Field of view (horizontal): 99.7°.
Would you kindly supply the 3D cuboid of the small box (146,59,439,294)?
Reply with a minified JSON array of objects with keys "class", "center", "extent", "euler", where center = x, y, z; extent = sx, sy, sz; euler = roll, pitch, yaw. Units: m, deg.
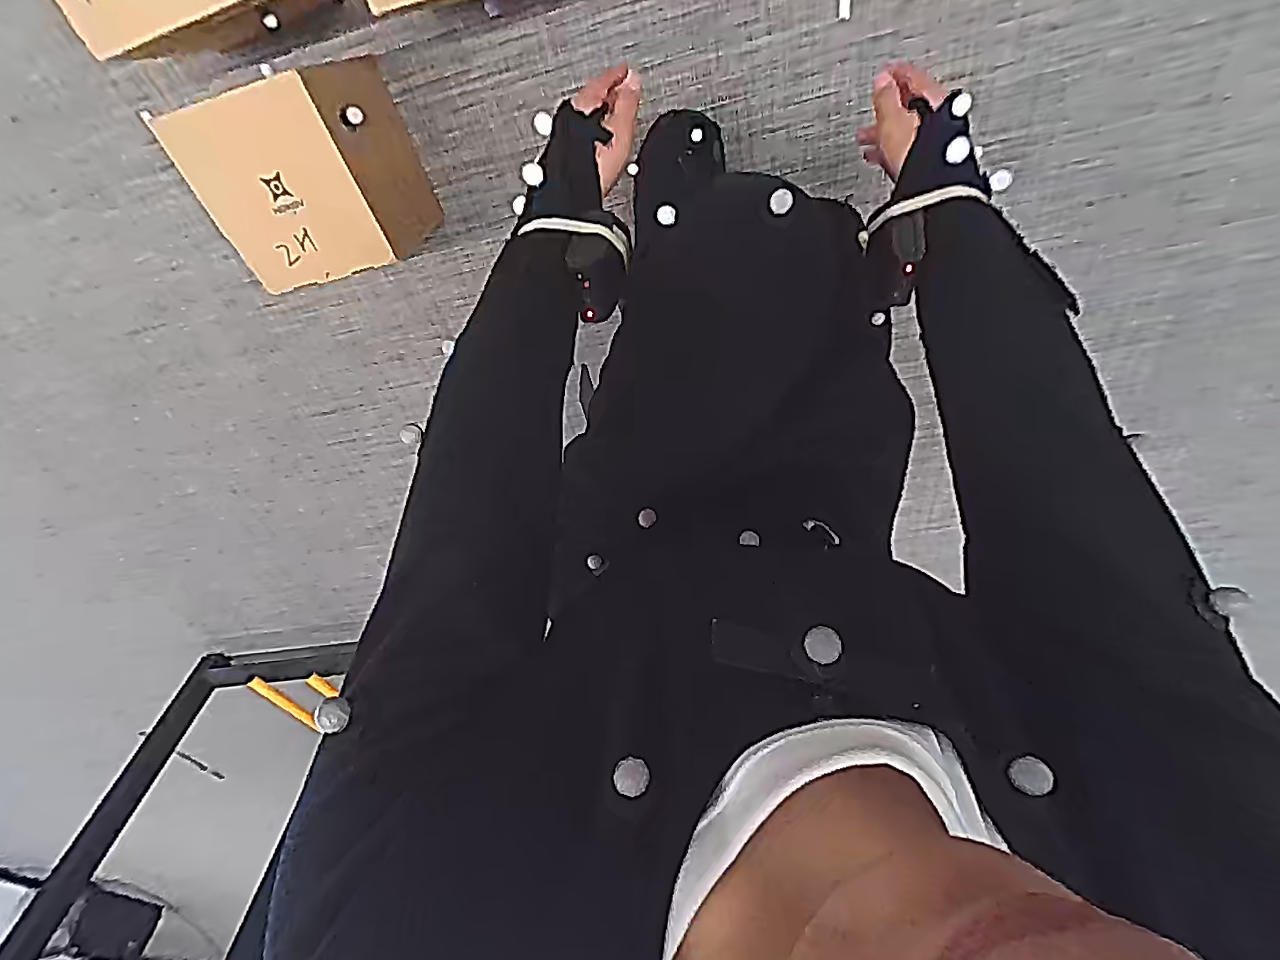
[{"class":"small box","center":[-0.352,-0.335,0.592],"extent":[0.168,0.176,0.179],"euler":[-9,131,11]}]

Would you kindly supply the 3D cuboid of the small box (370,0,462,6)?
[{"class":"small box","center":[-0.154,-0.510,0.433],"extent":[0.168,0.176,0.179],"euler":[-8,132,8]}]
